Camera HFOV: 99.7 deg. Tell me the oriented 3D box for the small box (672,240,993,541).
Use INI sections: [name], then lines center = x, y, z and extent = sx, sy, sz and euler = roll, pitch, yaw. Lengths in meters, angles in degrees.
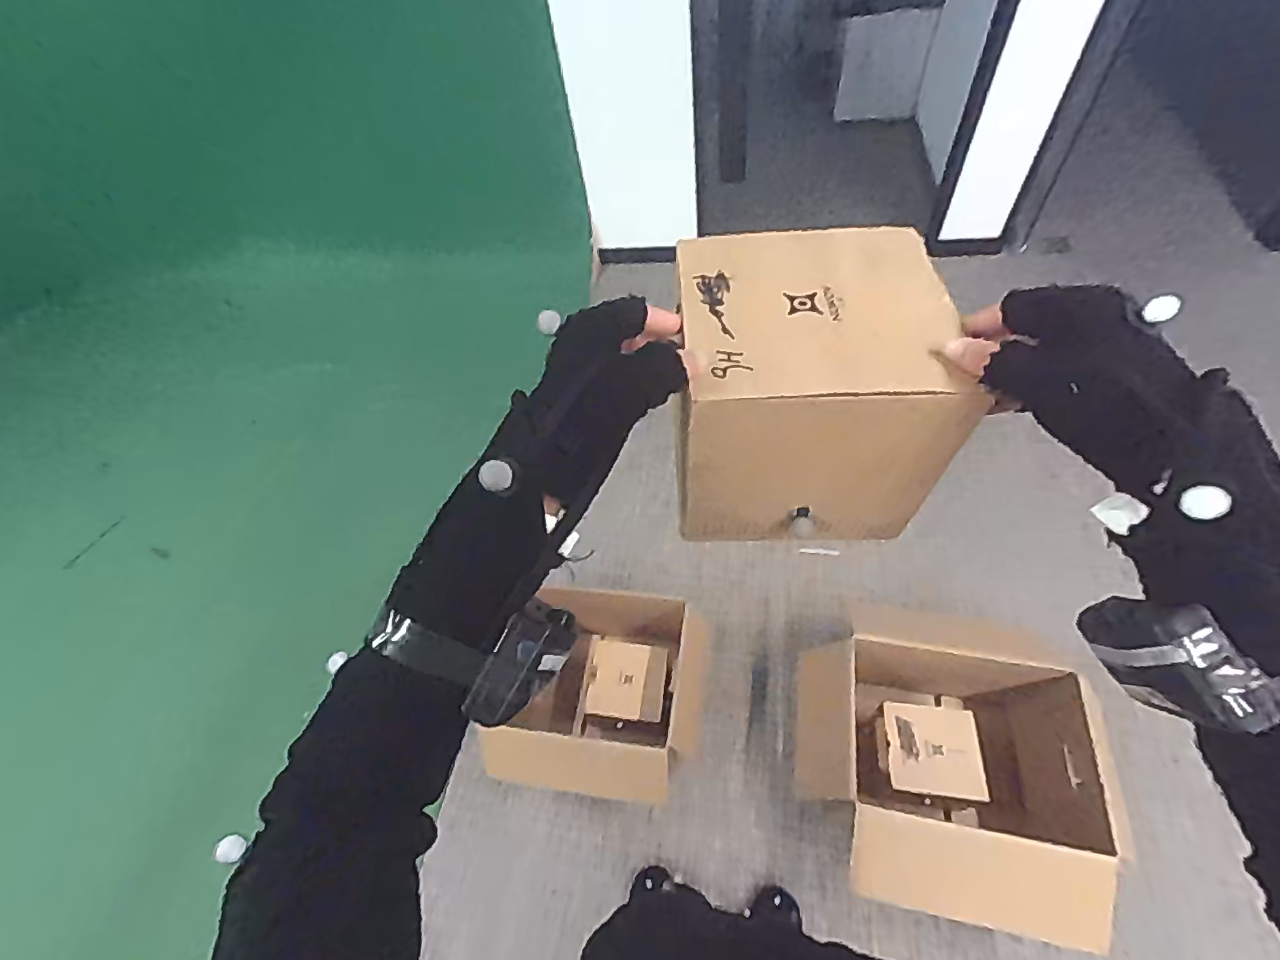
[small box]
center = 0.118, -0.062, 0.421
extent = 0.179, 0.176, 0.168
euler = -1, 54, 0
